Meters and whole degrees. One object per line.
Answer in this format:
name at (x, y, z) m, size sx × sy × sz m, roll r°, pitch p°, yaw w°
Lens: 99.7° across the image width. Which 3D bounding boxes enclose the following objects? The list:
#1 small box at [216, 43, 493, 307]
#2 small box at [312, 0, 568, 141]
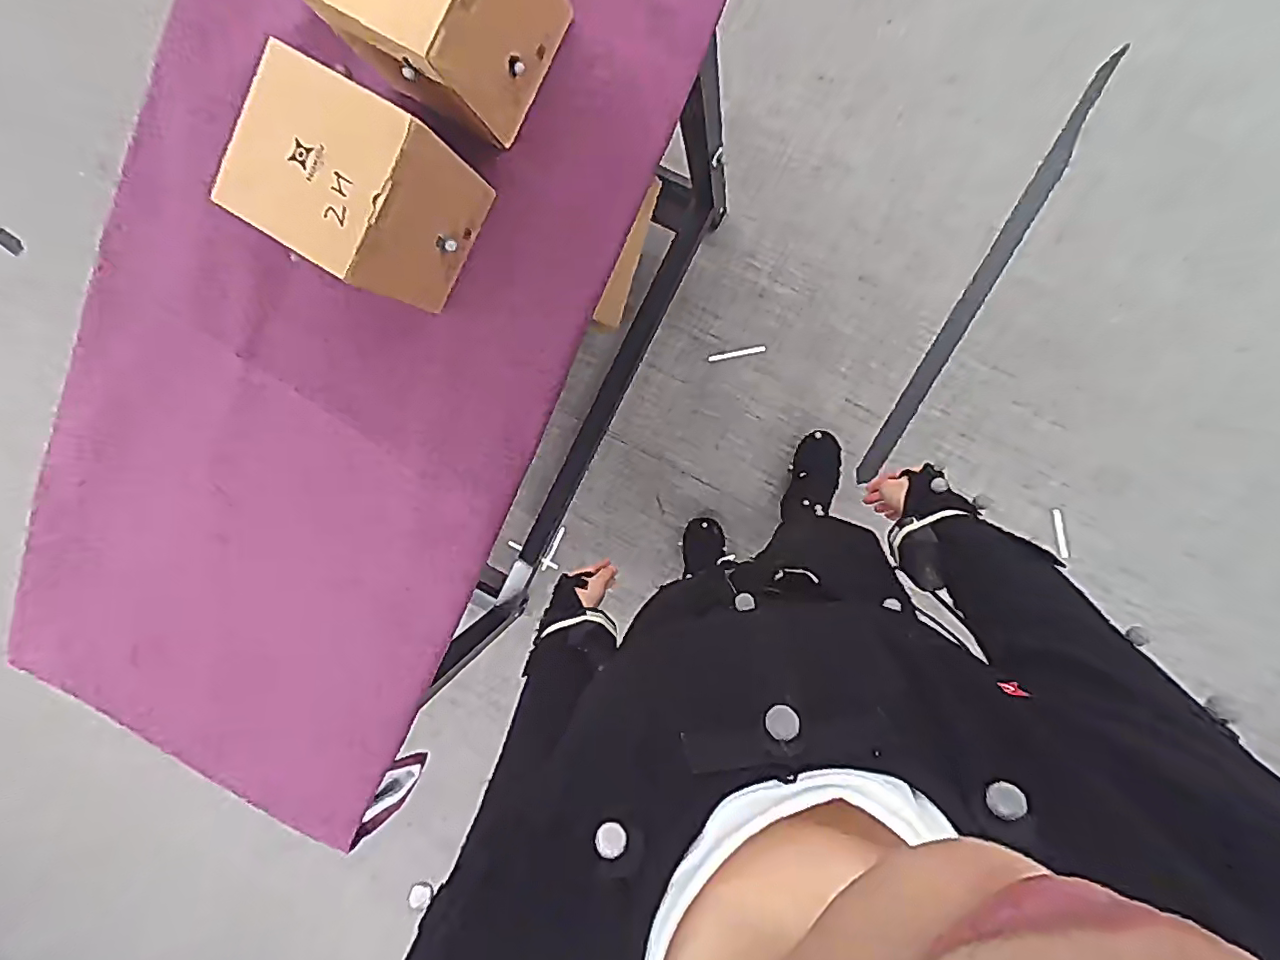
small box at (-0.299, -0.313, 0.598) m, size 0.179 × 0.176 × 0.168 m, roll 32°, pitch 101°, yaw 6°
small box at (-0.205, -0.498, 0.562) m, size 0.179 × 0.176 × 0.168 m, roll 32°, pitch 101°, yaw 7°
